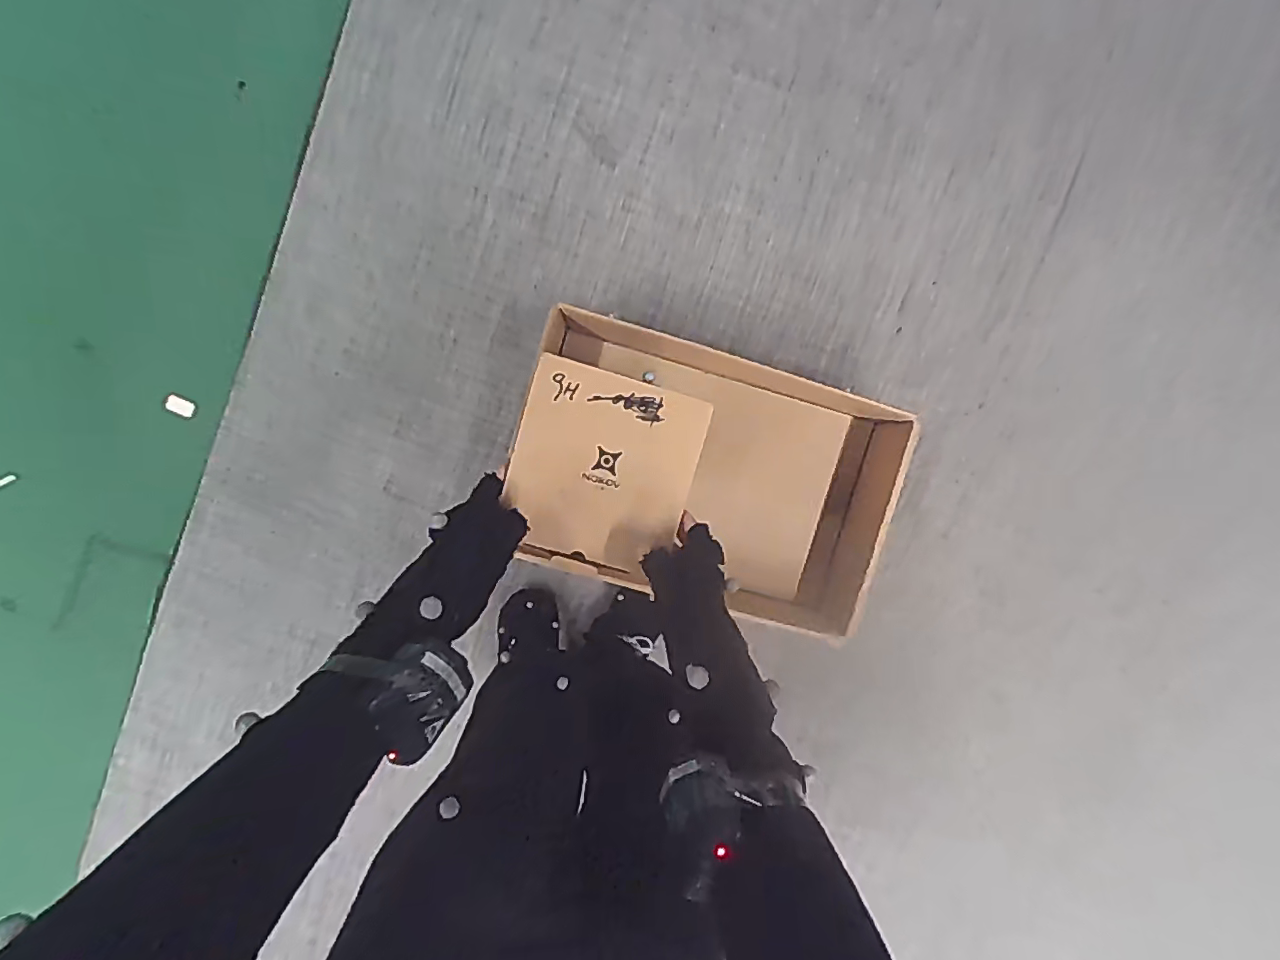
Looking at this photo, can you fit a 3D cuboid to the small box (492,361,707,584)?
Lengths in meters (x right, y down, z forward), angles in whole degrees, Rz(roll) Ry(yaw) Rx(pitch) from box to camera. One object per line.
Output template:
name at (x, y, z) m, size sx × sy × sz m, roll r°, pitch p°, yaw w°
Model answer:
small box at (-0.042, -0.012, 0.582) m, size 0.168 × 0.176 × 0.179 m, roll 16°, pitch 94°, yaw -5°
